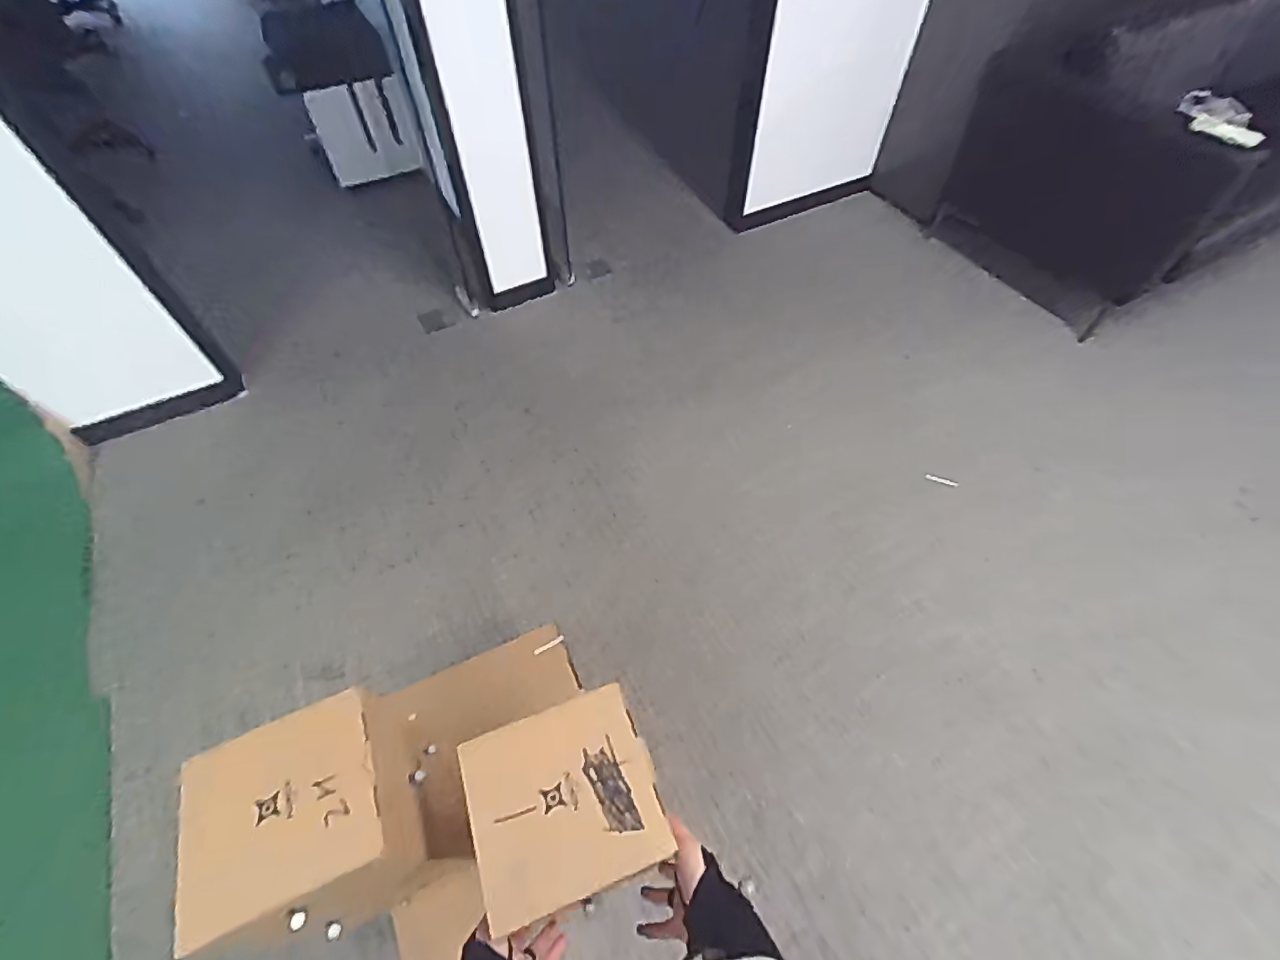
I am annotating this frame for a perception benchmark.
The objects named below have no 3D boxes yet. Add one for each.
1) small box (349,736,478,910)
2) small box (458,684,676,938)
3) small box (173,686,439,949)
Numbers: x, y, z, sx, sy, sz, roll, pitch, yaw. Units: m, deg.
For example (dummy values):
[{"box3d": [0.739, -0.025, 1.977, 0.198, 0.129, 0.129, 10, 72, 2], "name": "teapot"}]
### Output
[{"box3d": [-0.343, 0.540, 0.852, 0.168, 0.176, 0.179, -20, 55, -12], "name": "small box"}, {"box3d": [-0.075, 0.349, 0.583, 0.179, 0.176, 0.168, -18, 55, -12], "name": "small box"}, {"box3d": [-0.342, 0.355, 0.578, 0.179, 0.176, 0.168, -21, 56, -13], "name": "small box"}]
